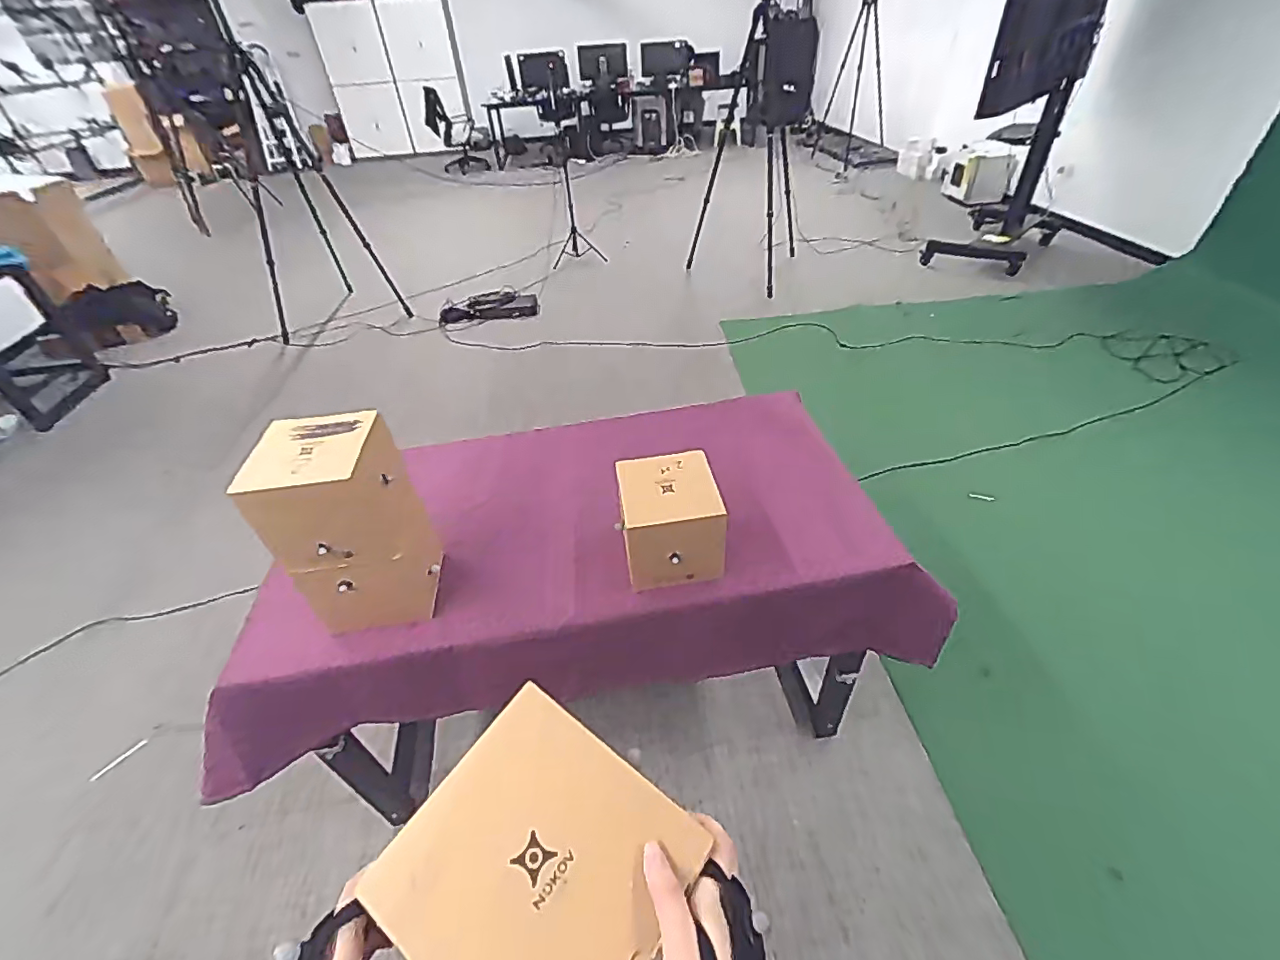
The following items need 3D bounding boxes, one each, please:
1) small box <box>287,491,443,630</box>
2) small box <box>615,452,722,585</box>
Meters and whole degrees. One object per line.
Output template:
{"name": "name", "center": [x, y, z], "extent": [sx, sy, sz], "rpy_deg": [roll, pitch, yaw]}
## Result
{"name": "small box", "center": [-0.468, 0.144, 0.952], "extent": [0.179, 0.176, 0.168], "rpy_deg": [-7, 41, -4]}
{"name": "small box", "center": [0.050, 0.075, 0.984], "extent": [0.168, 0.176, 0.179], "rpy_deg": [-7, 41, -3]}
